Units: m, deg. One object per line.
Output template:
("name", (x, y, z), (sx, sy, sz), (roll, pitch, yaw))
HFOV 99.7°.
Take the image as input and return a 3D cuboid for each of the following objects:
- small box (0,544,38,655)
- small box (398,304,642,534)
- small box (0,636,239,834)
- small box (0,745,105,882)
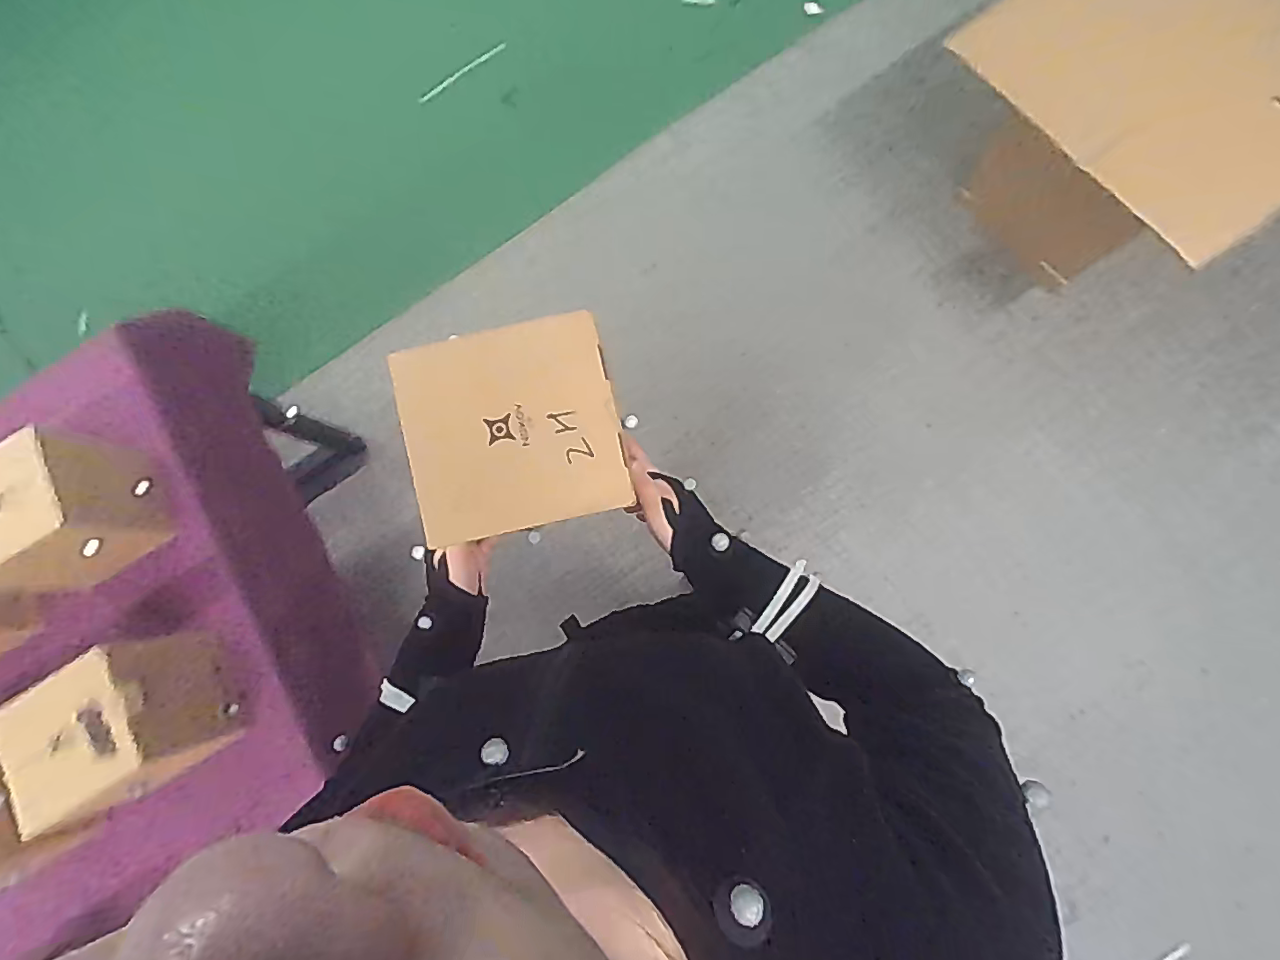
("small box", (-1.094, 0.203, 0.830), (0.179, 0.176, 0.168), (-31, 78, 2))
("small box", (-0.099, -0.048, 0.520), (0.179, 0.176, 0.168), (-11, 90, 1))
("small box", (-0.711, 0.337, 0.757), (0.179, 0.176, 0.168), (-33, 78, 2))
("small box", (-0.921, 0.472, 0.761), (0.168, 0.176, 0.179), (-31, 77, 0))
